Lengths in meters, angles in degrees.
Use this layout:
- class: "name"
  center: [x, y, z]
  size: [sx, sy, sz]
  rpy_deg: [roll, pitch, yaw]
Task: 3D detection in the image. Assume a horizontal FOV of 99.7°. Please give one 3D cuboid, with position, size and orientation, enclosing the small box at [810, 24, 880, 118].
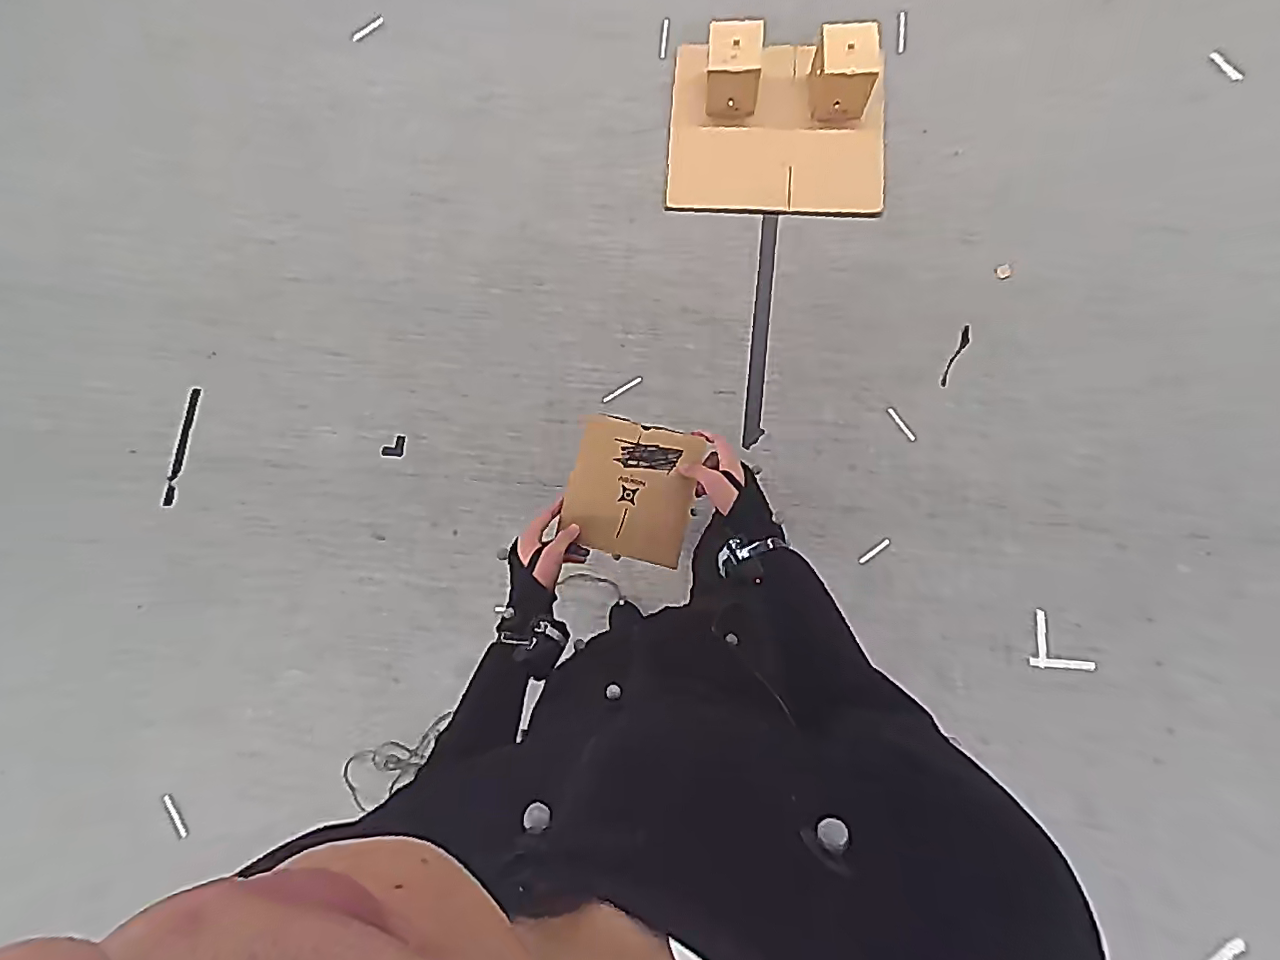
- class: "small box"
  center: [0.642, -1.291, 1.713]
  size: [0.168, 0.176, 0.179]
  rpy_deg: [0, 82, 4]

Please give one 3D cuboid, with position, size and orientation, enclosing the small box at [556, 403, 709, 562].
- class: "small box"
  center: [-0.007, 0.007, 0.777]
  size: [0.168, 0.176, 0.179]
  rpy_deg: [14, 87, 4]

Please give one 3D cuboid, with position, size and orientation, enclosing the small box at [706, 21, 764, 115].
- class: "small box"
  center: [0.300, -1.318, 1.734]
  size: [0.168, 0.176, 0.179]
  rpy_deg: [3, 83, 5]
